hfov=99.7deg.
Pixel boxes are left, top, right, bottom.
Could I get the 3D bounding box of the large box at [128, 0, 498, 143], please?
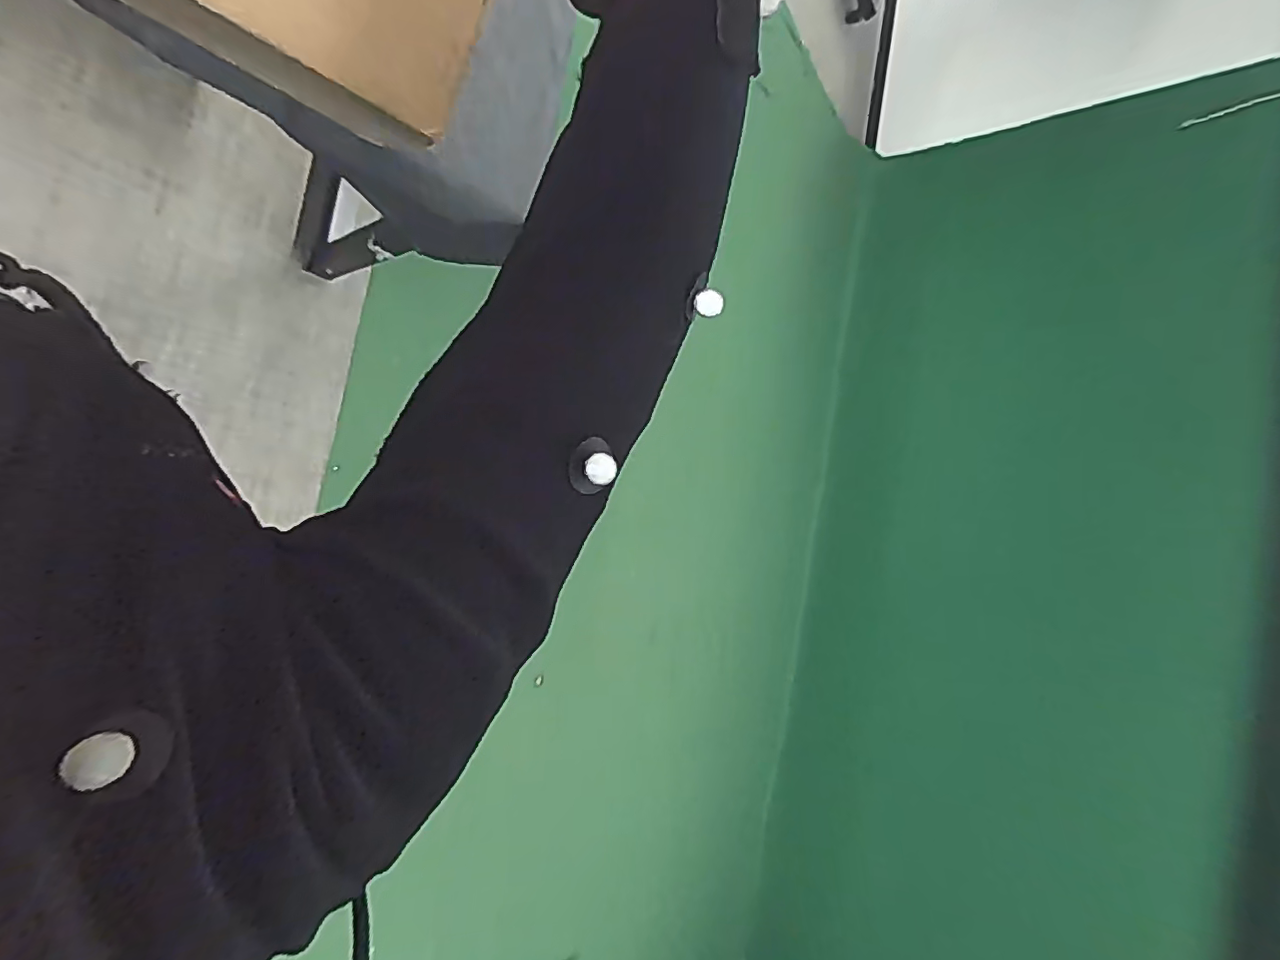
[{"bbox_3d":[-0.263,-0.415,0.232,0.408,0.320,0.320,12,112,-39],"label":"large box"}]
